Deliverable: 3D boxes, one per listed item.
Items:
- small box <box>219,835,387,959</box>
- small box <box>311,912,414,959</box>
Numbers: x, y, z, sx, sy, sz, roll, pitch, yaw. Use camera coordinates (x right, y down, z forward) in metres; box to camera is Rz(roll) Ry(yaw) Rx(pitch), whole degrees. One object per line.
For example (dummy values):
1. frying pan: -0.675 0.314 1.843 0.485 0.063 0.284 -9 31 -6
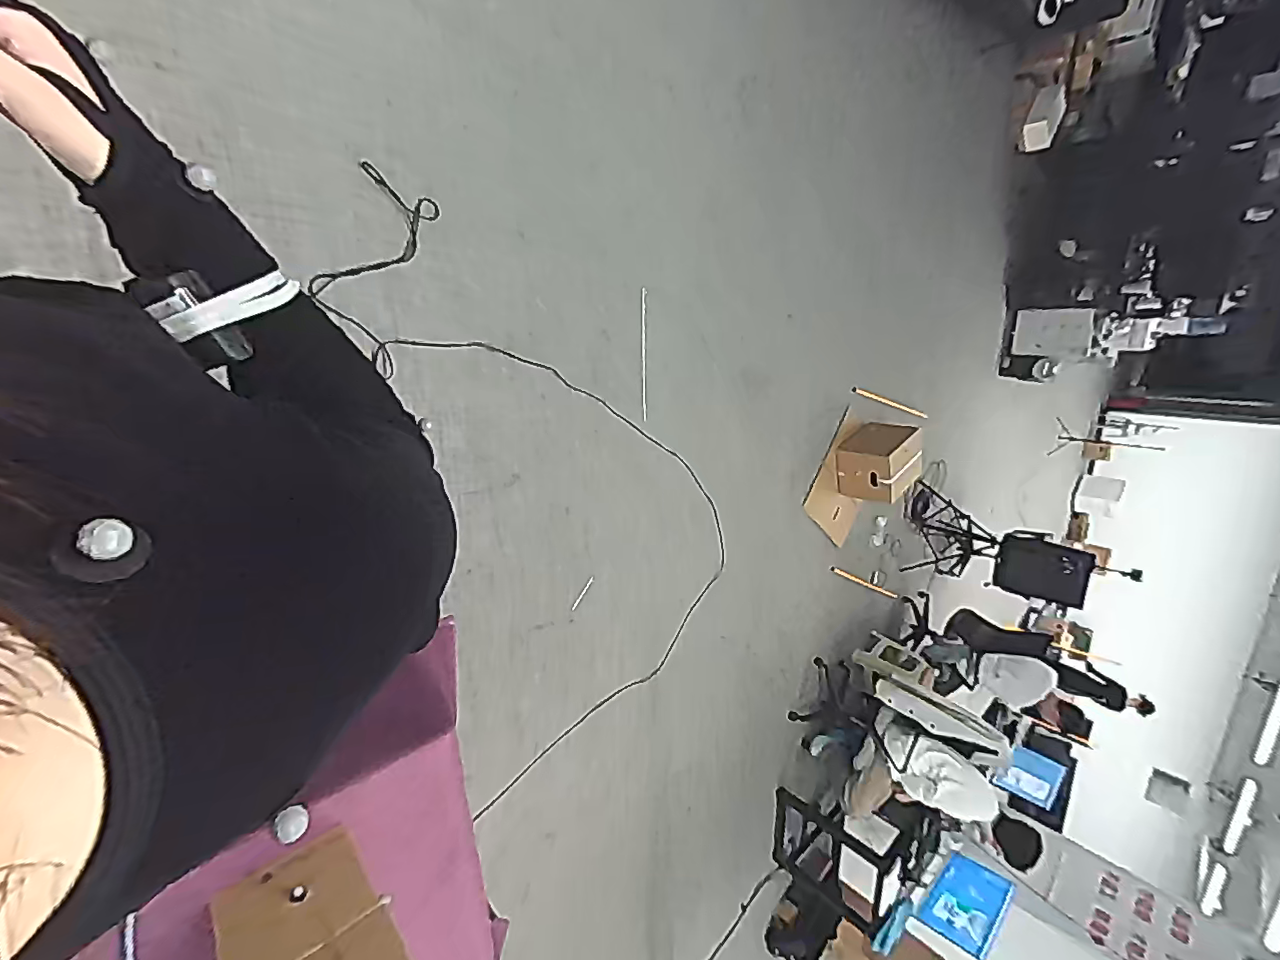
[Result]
1. small box: -0.444 0.628 0.731 0.168 0.176 0.179 -17 113 -39
2. small box: -0.332 0.660 0.614 0.179 0.176 0.168 -17 112 -39
